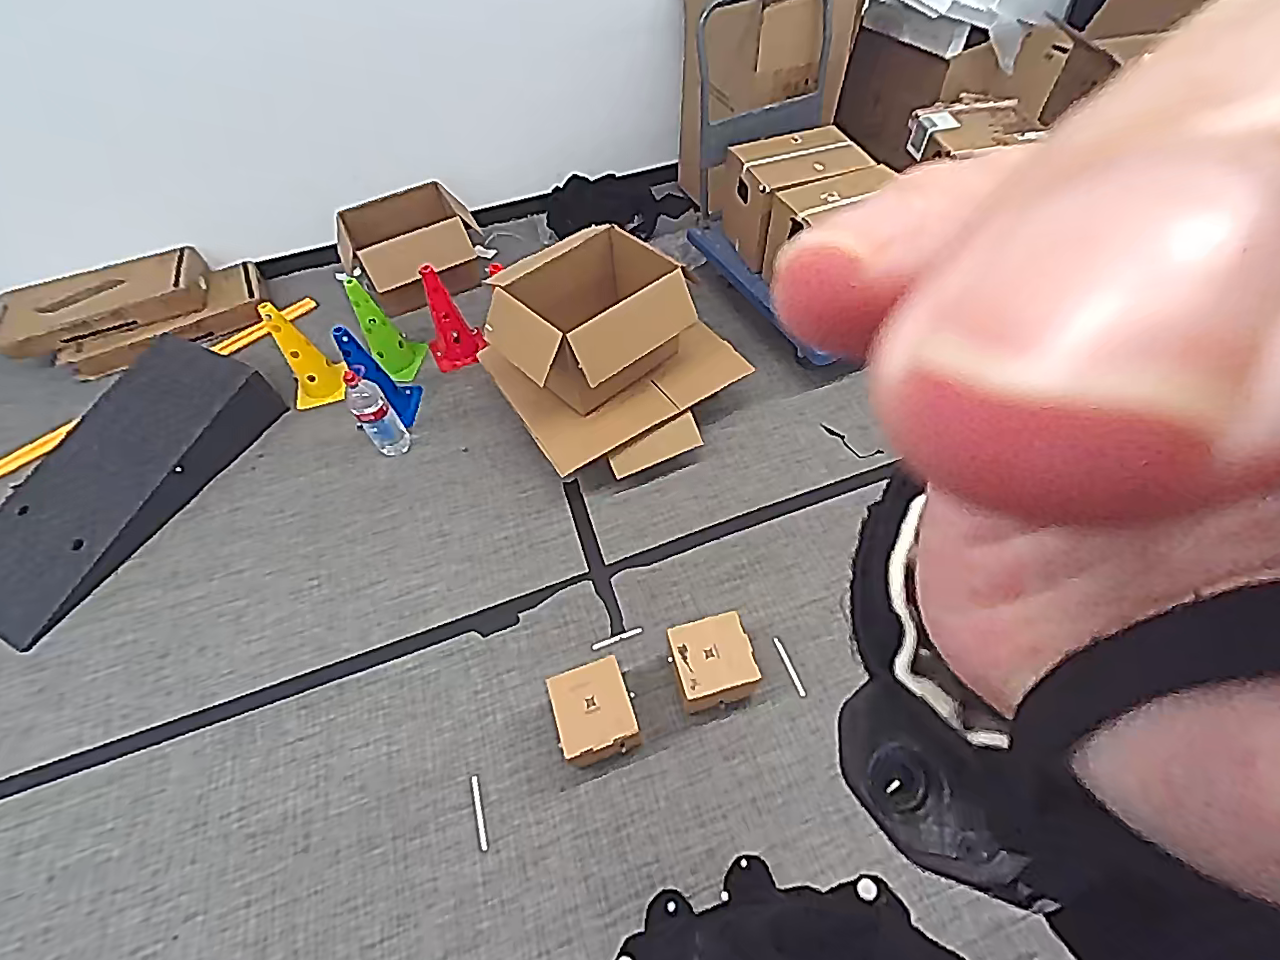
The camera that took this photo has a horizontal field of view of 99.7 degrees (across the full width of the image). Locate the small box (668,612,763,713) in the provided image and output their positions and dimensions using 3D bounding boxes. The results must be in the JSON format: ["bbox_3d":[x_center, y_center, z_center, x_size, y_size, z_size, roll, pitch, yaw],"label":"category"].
[{"bbox_3d":[0.171,0.439,1.291,0.179,0.176,0.168,-13,57,-7],"label":"small box"}]

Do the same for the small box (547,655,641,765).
[{"bbox_3d":[-0.100,0.534,1.241,0.168,0.176,0.179,-18,56,-10],"label":"small box"}]
